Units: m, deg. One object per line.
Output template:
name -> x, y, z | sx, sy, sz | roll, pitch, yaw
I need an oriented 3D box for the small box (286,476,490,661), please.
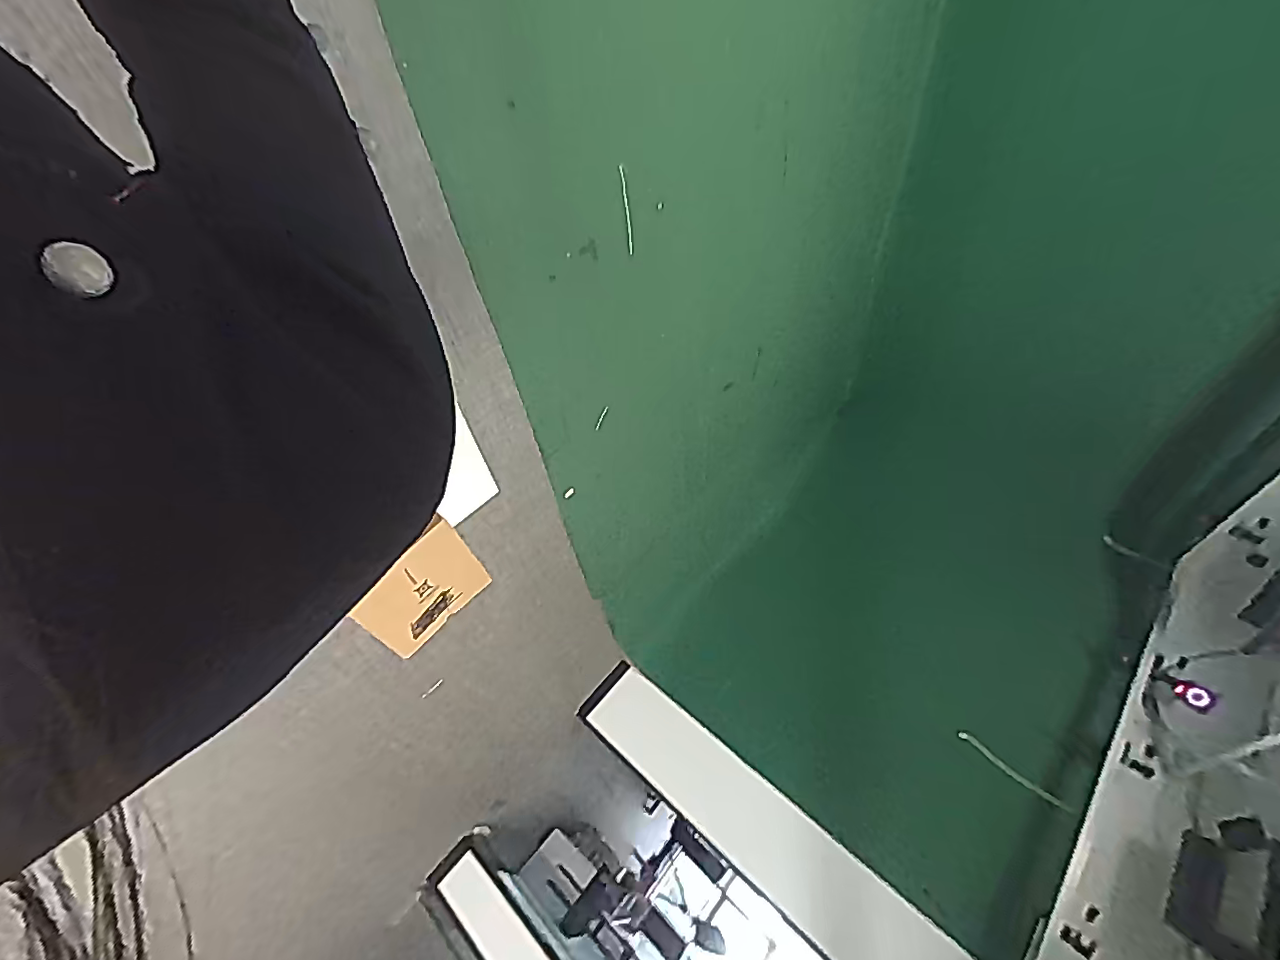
small box -> -0.358, 0.124, 0.784 | 0.168, 0.176, 0.179 | -46, 149, -20
